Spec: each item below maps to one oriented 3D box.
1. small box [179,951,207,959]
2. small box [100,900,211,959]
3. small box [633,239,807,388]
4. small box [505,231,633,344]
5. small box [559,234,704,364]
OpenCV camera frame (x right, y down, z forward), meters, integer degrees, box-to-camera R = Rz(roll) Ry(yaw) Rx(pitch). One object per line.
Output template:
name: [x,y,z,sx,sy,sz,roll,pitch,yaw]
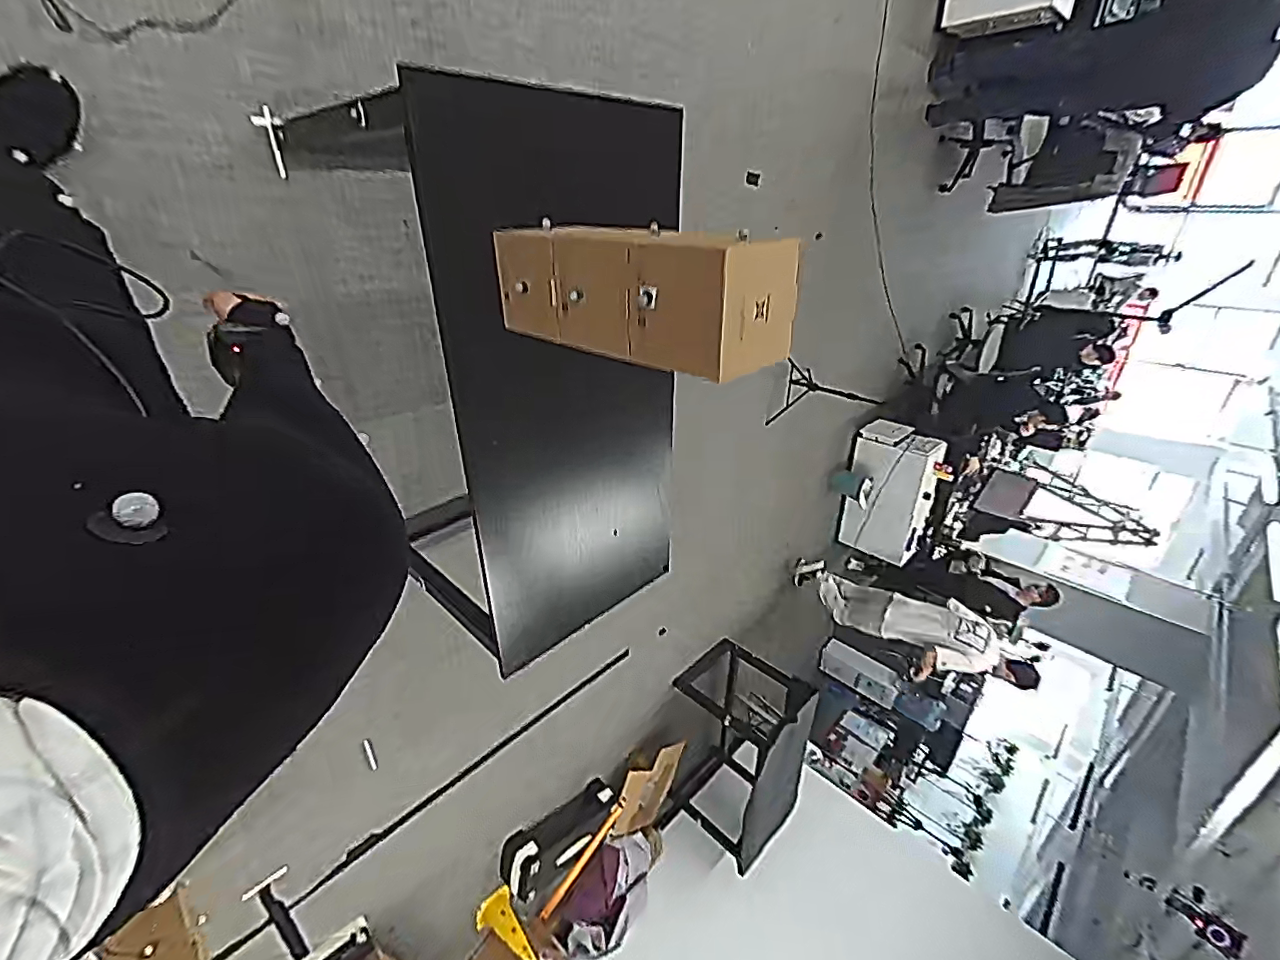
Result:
small box: [-1.131,1.314,1.313,0.168,0.176,0.179,-22,124,-40]
small box: [-1.253,1.259,1.405,0.179,0.176,0.168,-24,126,-38]
small box: [0.109,-0.244,0.763,0.179,0.176,0.168,-26,126,-38]
small box: [-0.126,-0.350,0.967,0.179,0.176,0.168,-27,127,-38]
small box: [-0.007,-0.298,0.865,0.179,0.176,0.168,-26,127,-38]
